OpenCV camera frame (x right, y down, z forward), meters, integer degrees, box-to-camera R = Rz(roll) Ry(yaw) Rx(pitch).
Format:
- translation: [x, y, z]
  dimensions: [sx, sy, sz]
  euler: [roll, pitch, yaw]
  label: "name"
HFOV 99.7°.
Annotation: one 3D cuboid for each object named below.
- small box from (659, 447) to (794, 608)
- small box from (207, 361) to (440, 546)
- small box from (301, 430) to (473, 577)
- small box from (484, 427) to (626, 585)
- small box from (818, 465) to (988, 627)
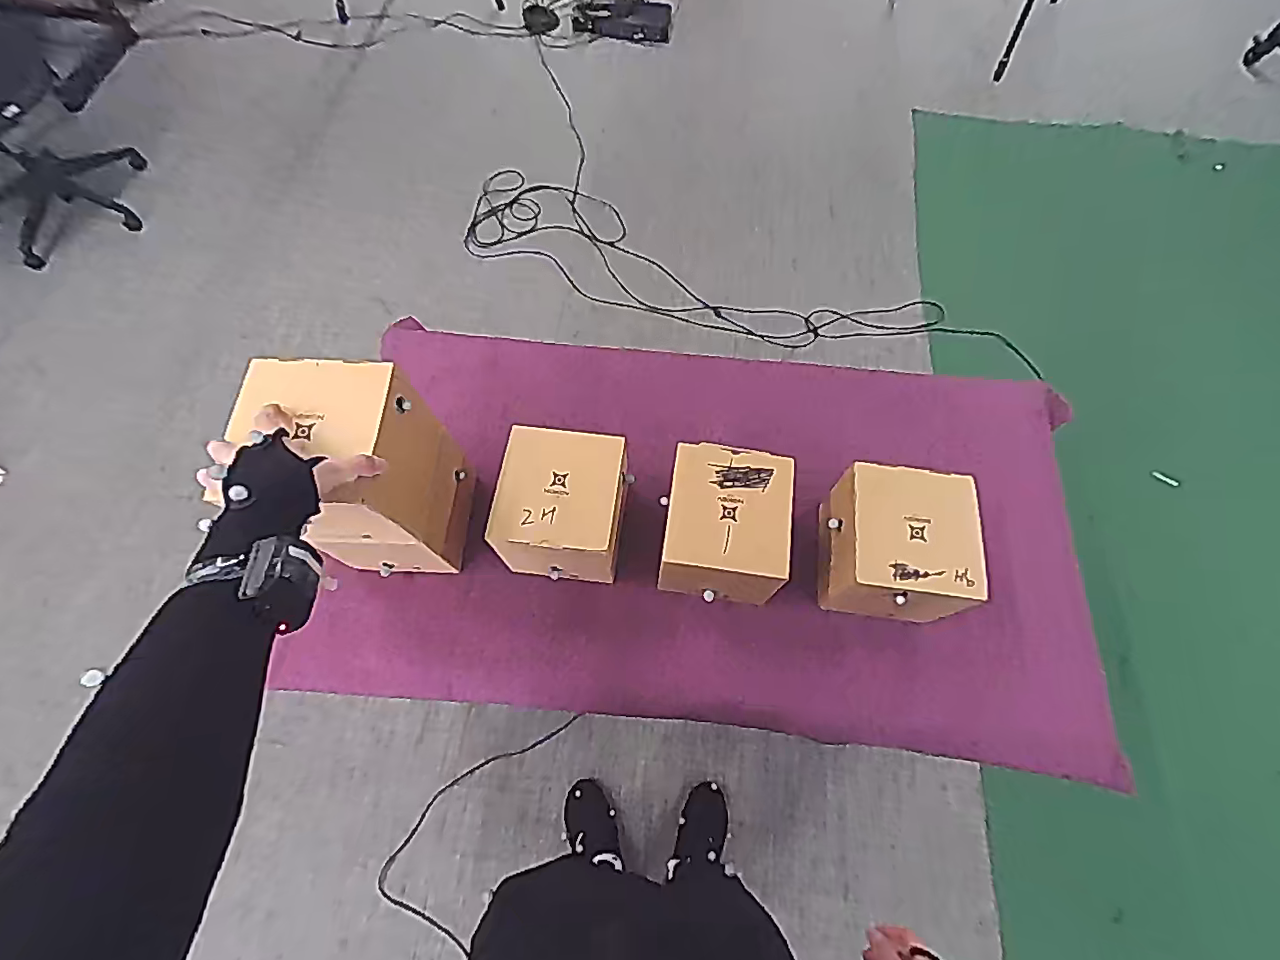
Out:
- translation: [0.120, 0.075, 0.794]
  dimensions: [0.168, 0.176, 0.179]
  euler: [8, 67, 4]
  label: "small box"
- translation: [-0.362, -0.024, 0.660]
  dimensions: [0.168, 0.176, 0.179]
  euler: [2, 67, 1]
  label: "small box"
- translation: [-0.363, 0.037, 0.813]
  dimensions: [0.168, 0.176, 0.179]
  euler: [2, 66, 1]
  label: "small box"
- translation: [-0.113, 0.045, 0.808]
  dimensions: [0.168, 0.176, 0.179]
  euler: [7, 66, 3]
  label: "small box"
- translation: [0.363, 0.101, 0.780]
  dimensions: [0.168, 0.176, 0.179]
  euler: [8, 65, 4]
  label: "small box"
